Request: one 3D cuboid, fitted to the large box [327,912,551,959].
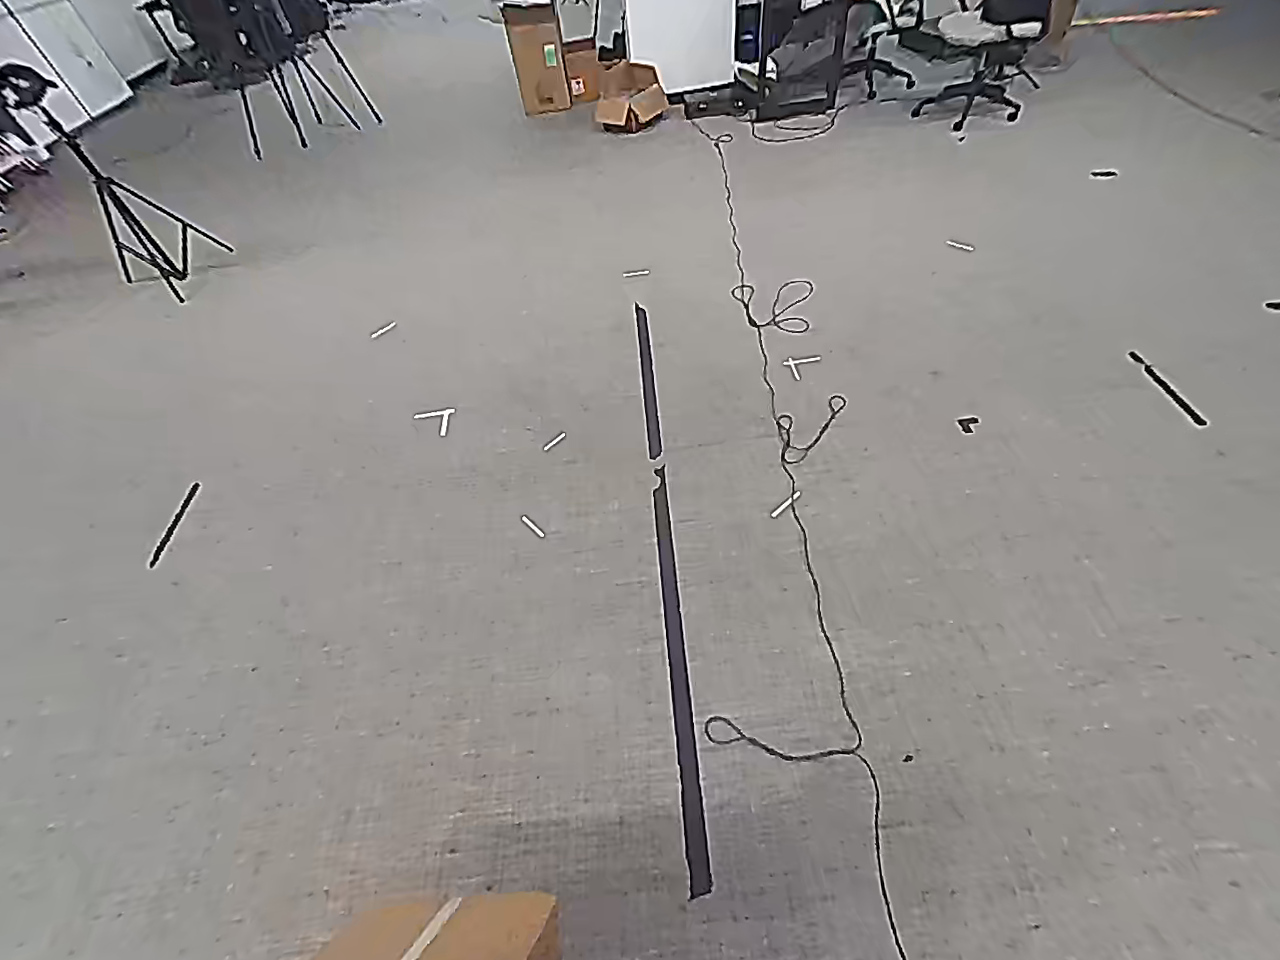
[{"bbox_3d":[-0.289,0.787,0.618,0.320,0.408,0.320,-8,78,5],"label":"large box"}]
